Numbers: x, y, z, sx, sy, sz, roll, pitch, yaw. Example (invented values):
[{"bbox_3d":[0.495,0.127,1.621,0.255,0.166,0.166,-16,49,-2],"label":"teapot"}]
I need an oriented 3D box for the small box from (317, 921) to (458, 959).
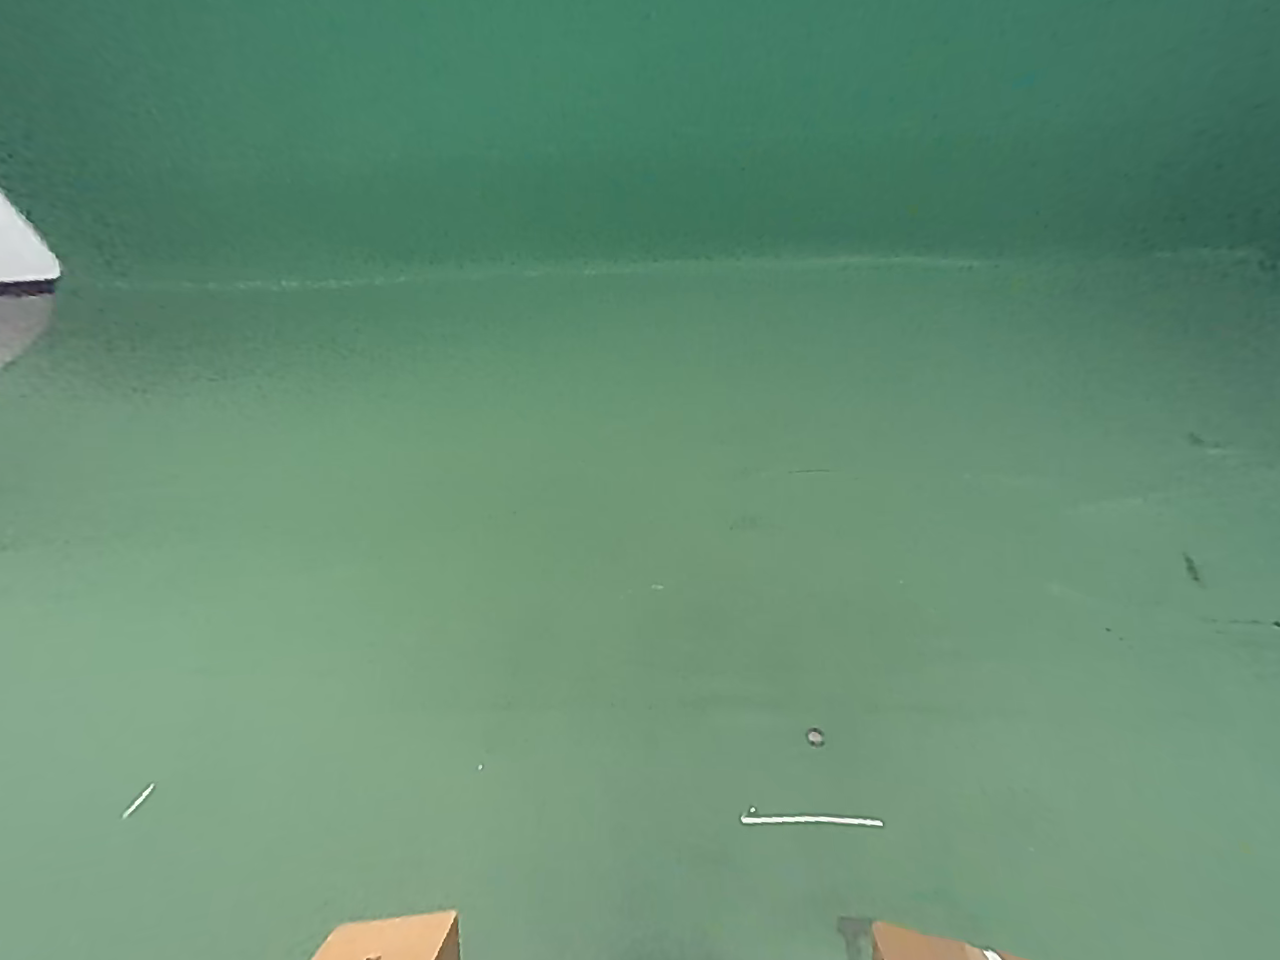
[{"bbox_3d":[-0.323,0.682,0.646,0.168,0.179,0.176,-6,82,-2],"label":"small box"}]
